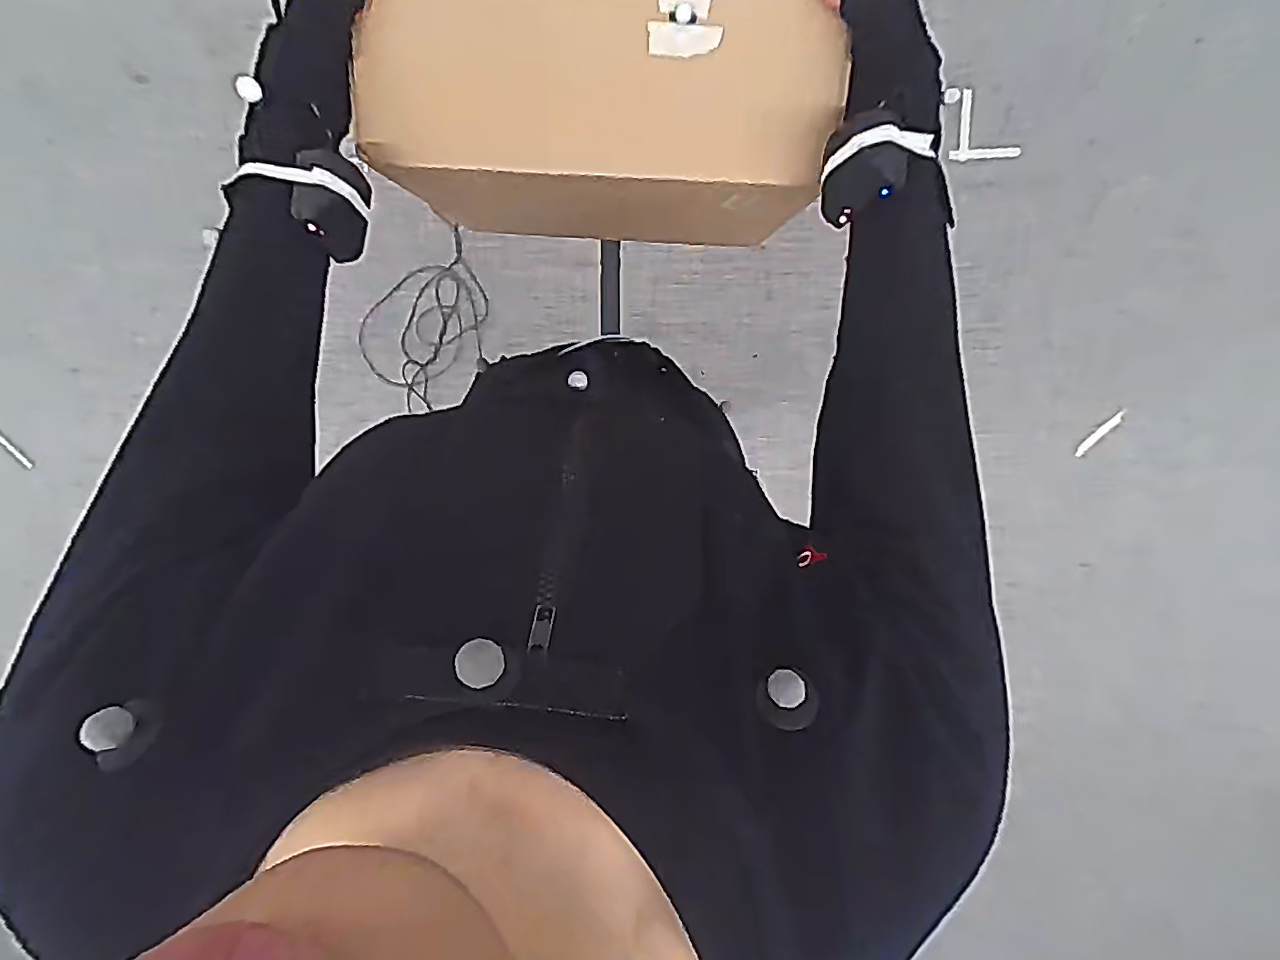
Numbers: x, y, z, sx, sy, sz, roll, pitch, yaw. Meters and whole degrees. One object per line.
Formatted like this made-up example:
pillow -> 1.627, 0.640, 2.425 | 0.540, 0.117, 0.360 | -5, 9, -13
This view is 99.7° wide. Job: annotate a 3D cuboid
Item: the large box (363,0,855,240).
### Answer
large box -> -0.026, -0.450, 0.572 | 0.408, 0.320, 0.320 | 2, 106, -1
